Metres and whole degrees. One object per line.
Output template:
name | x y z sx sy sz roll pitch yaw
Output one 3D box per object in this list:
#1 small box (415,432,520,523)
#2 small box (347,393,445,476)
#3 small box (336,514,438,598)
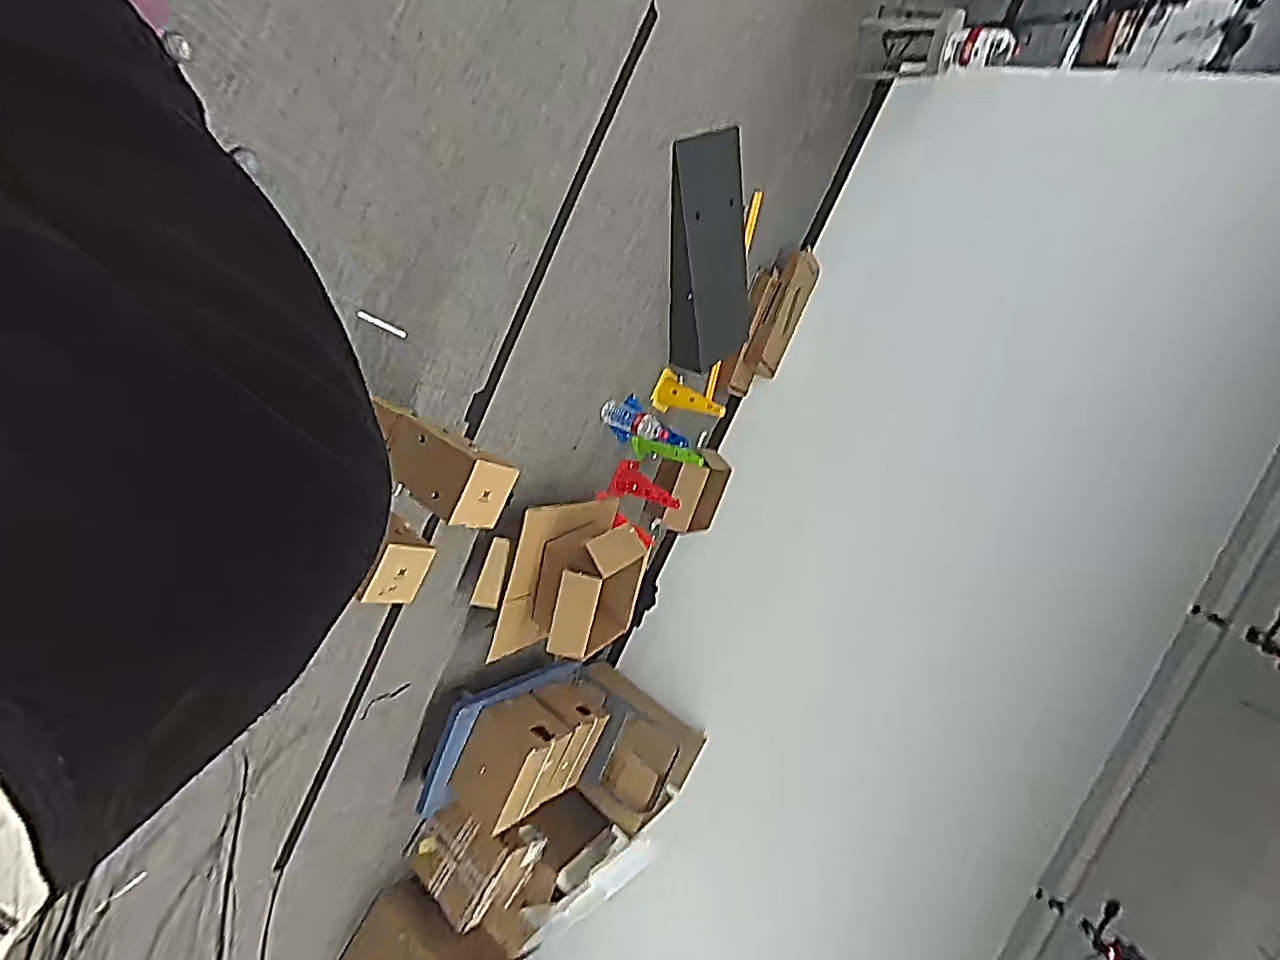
small box | -0.455 -0.004 1.414 0.168 0.176 0.179 15 100 -63
small box | -0.712 -0.134 1.570 0.168 0.176 0.179 20 97 -62
small box | -0.712 0.212 1.517 0.179 0.176 0.168 -63 151 2
